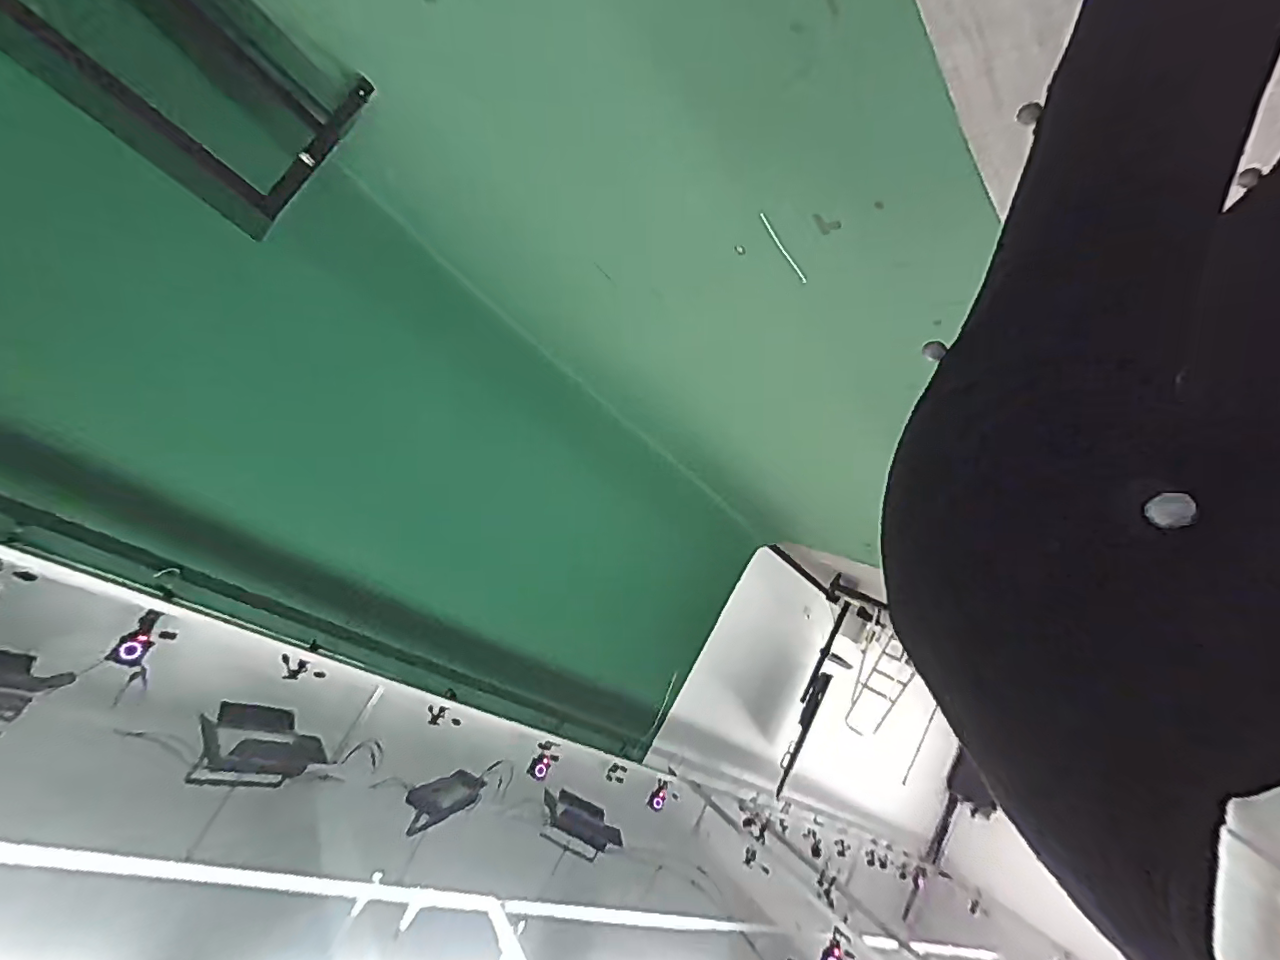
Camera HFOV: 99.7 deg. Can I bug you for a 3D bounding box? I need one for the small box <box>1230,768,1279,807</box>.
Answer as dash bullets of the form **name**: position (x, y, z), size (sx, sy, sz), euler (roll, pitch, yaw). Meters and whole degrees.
- **small box**: position (1.795, 0.812, 1.513), size (0.179, 0.176, 0.168), euler (39, 167, -36)
